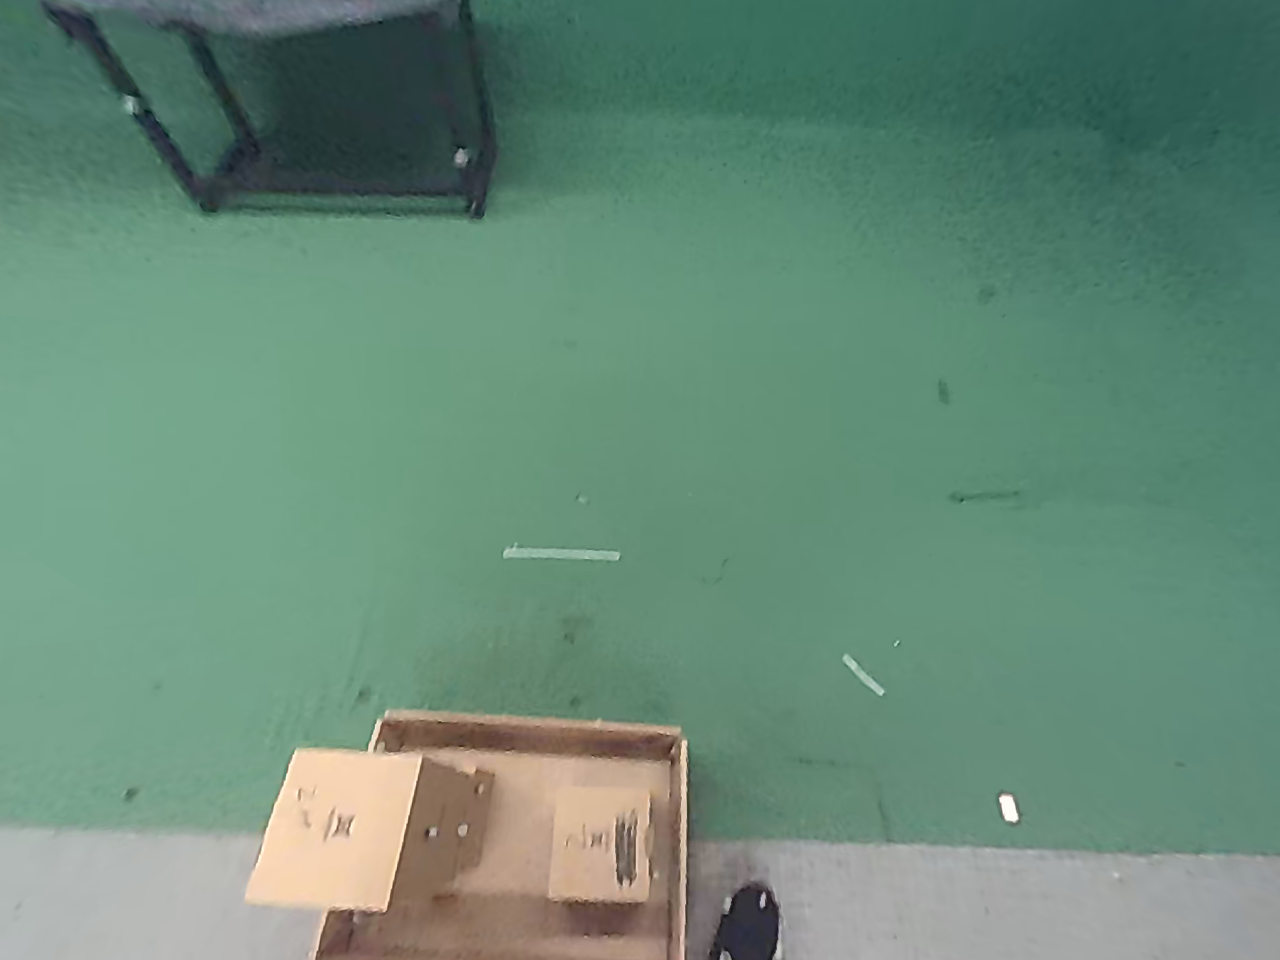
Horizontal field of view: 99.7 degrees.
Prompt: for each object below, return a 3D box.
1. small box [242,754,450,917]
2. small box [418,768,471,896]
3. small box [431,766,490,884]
[{"bbox_3d":[-0.381,0.482,0.745,0.179,0.176,0.168,3,57,0],"label":"small box"},{"bbox_3d":[-0.396,0.567,0.886,0.179,0.176,0.168,4,58,-1],"label":"small box"},{"bbox_3d":[-0.394,0.648,1.029,0.168,0.176,0.179,3,58,0],"label":"small box"}]
